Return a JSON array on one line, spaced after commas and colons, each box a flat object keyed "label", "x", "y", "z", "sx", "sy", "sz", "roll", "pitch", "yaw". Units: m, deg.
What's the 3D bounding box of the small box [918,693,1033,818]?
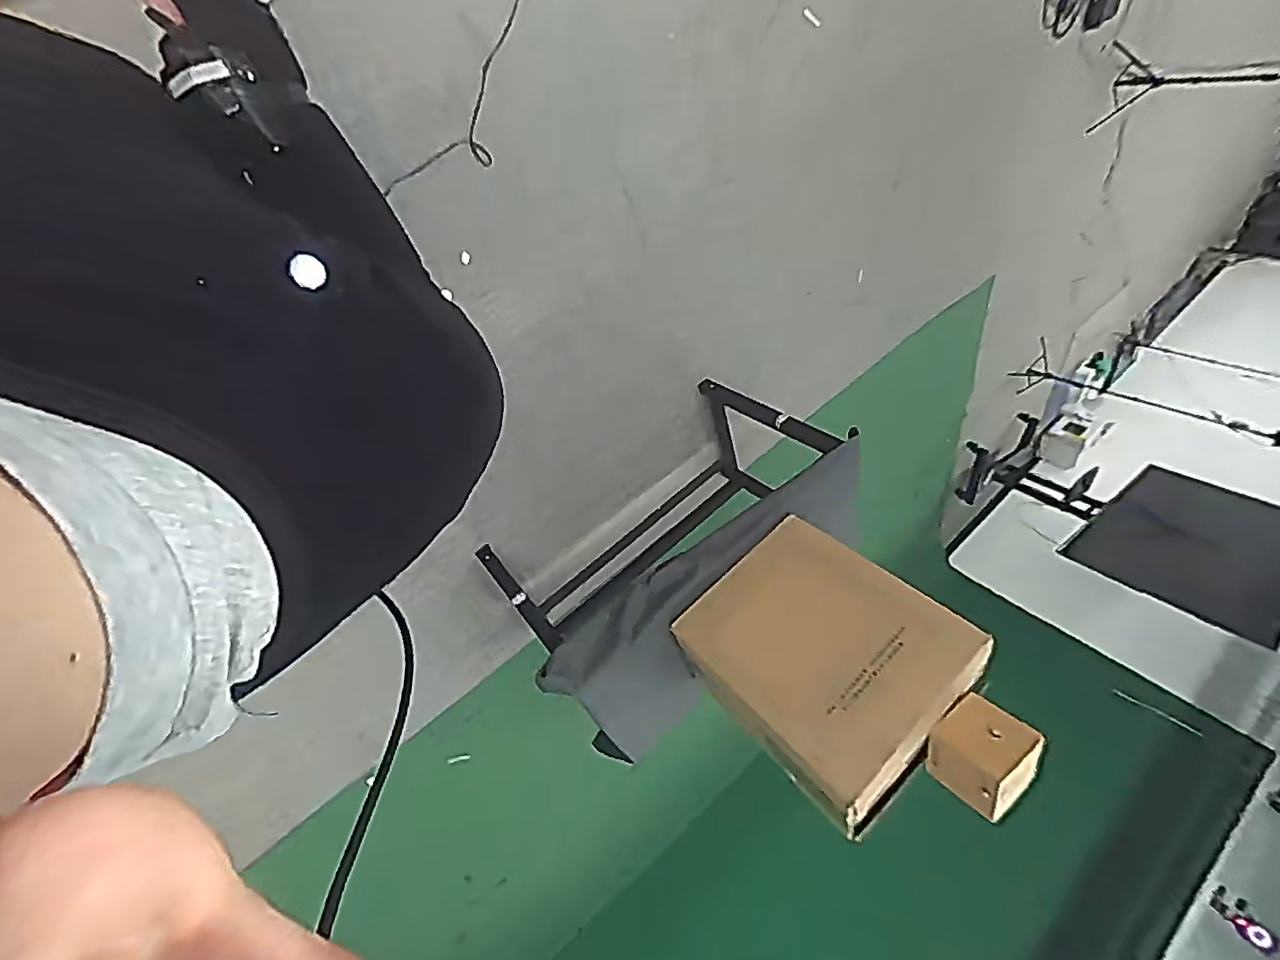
[{"label": "small box", "x": 0.812, "y": 0.661, "z": 1.318, "sx": 0.179, "sy": 0.176, "sz": 0.168, "roll": -27, "pitch": 121, "yaw": -23}]
